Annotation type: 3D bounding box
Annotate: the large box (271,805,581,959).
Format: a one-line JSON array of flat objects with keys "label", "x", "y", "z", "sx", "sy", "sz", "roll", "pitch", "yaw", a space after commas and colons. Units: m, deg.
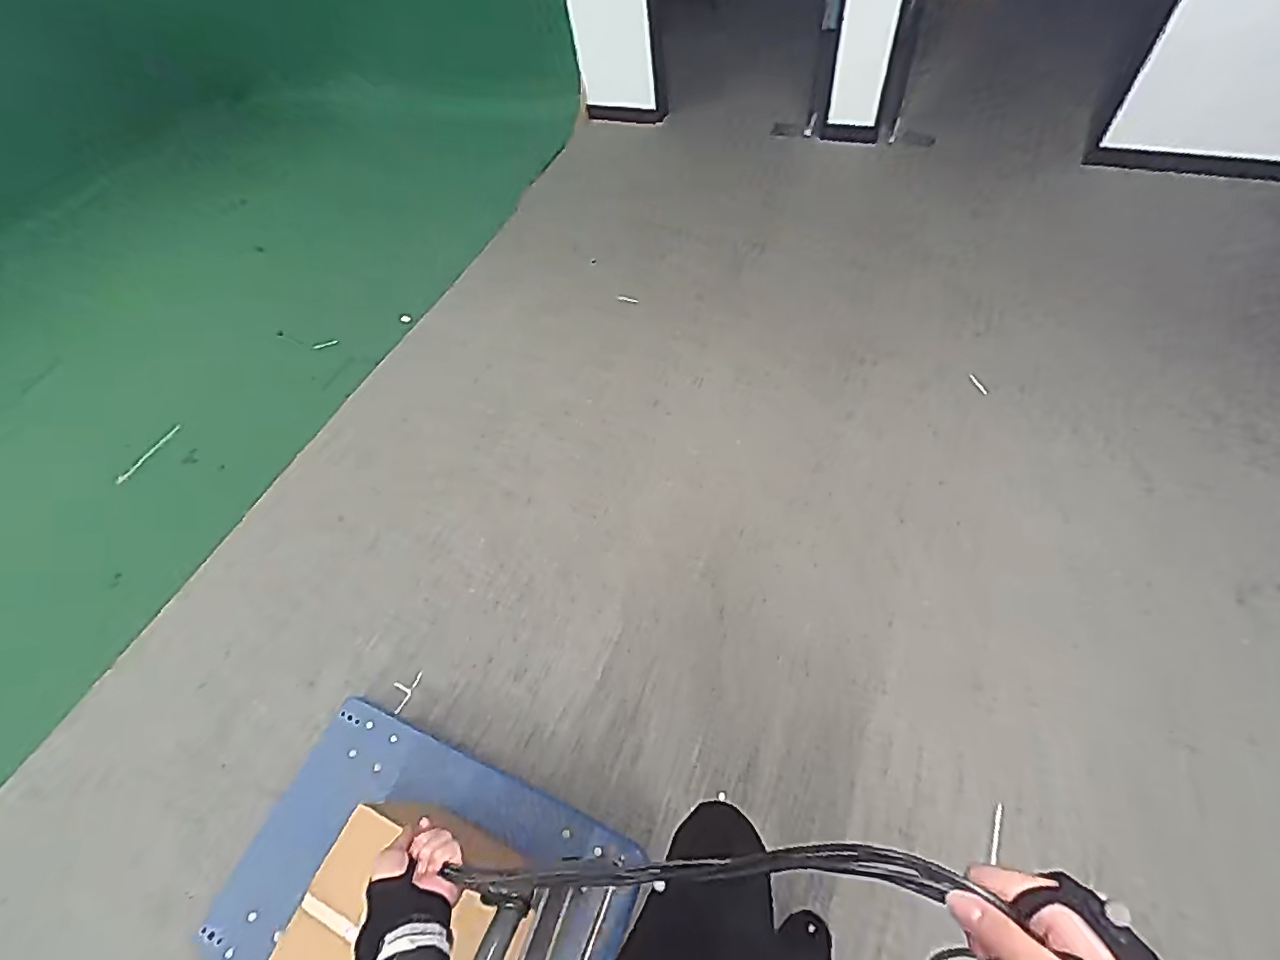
[{"label": "large box", "x": -0.376, "y": 0.853, "z": 1.004, "sx": 0.408, "sy": 0.320, "sz": 0.320, "roll": 16, "pitch": 62, "yaw": 19}]
